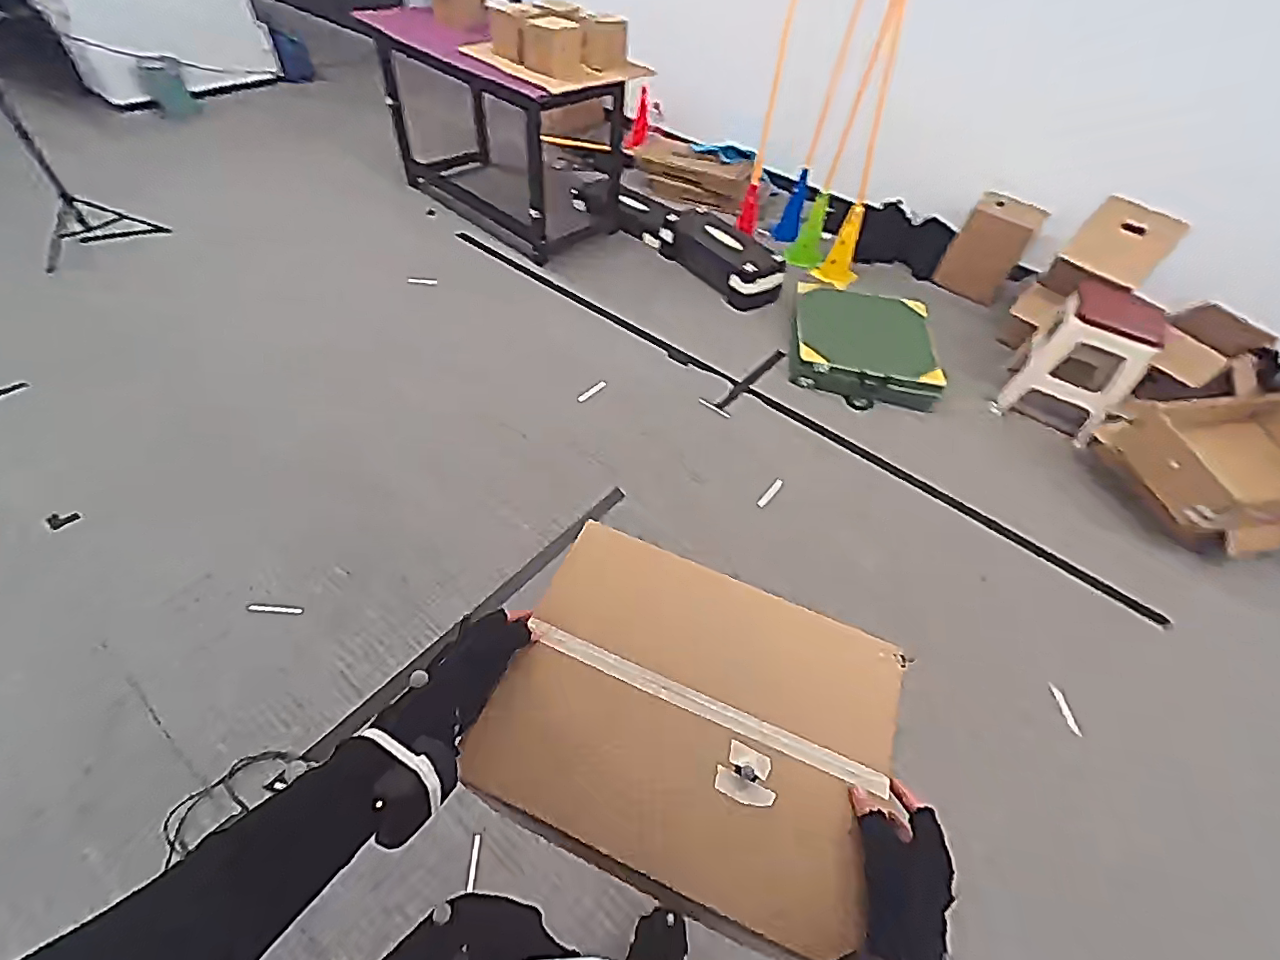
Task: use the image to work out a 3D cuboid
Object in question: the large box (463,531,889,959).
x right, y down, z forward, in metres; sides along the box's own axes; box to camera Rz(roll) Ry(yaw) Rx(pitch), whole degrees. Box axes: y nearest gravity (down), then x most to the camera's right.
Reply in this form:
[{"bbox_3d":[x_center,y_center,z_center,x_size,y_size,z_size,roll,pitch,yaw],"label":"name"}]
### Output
[{"bbox_3d":[0.044,0.330,0.704,0.408,0.320,0.320,22,54,8],"label":"large box"}]
